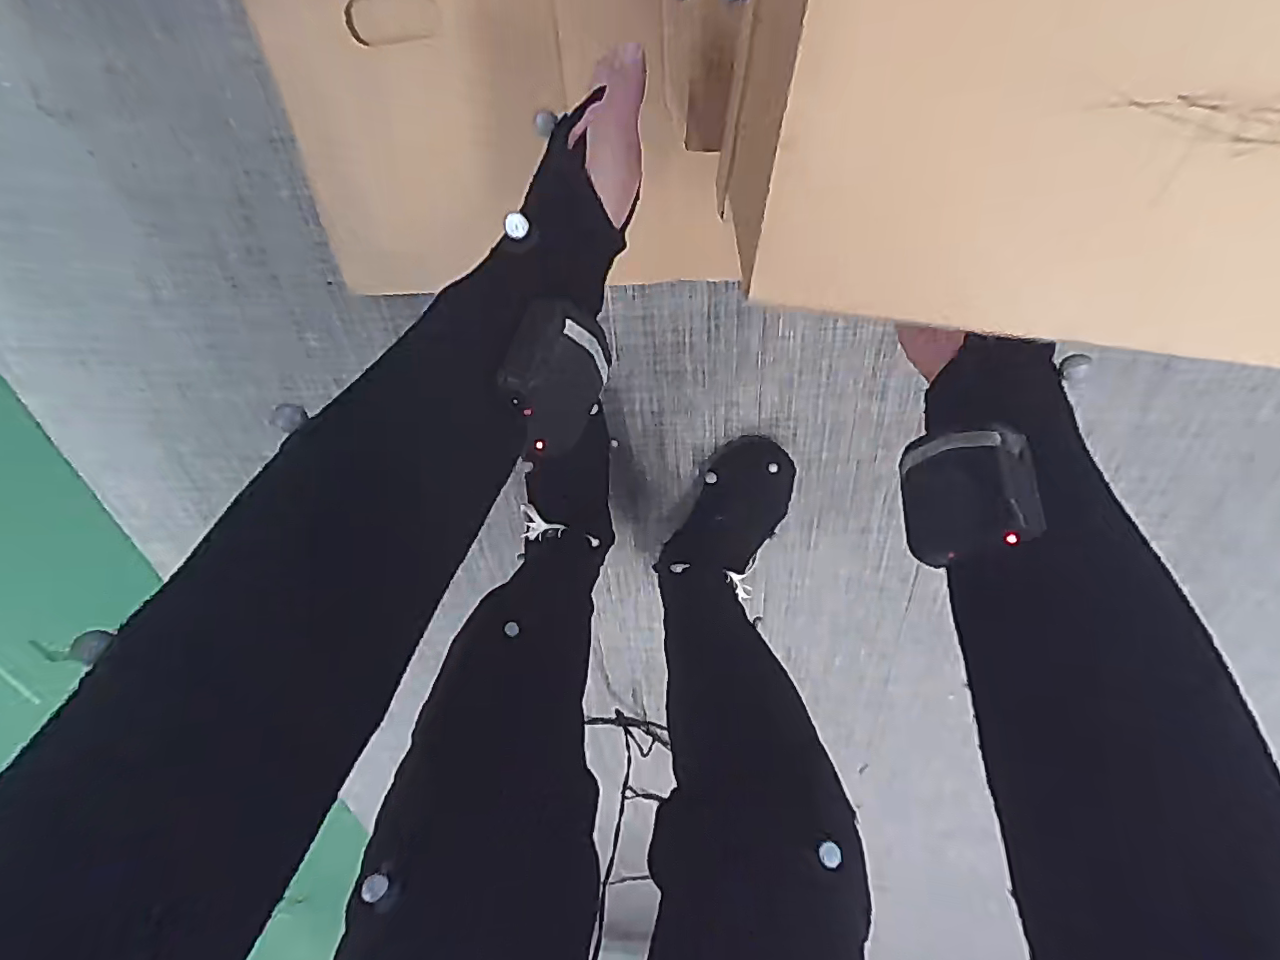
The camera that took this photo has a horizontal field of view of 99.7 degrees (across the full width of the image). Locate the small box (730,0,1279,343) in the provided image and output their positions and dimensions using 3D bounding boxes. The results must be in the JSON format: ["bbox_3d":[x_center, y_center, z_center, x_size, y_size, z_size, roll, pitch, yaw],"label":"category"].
[{"bbox_3d":[0.118,-0.150,0.135,0.168,0.176,0.179,8,125,3],"label":"small box"}]
